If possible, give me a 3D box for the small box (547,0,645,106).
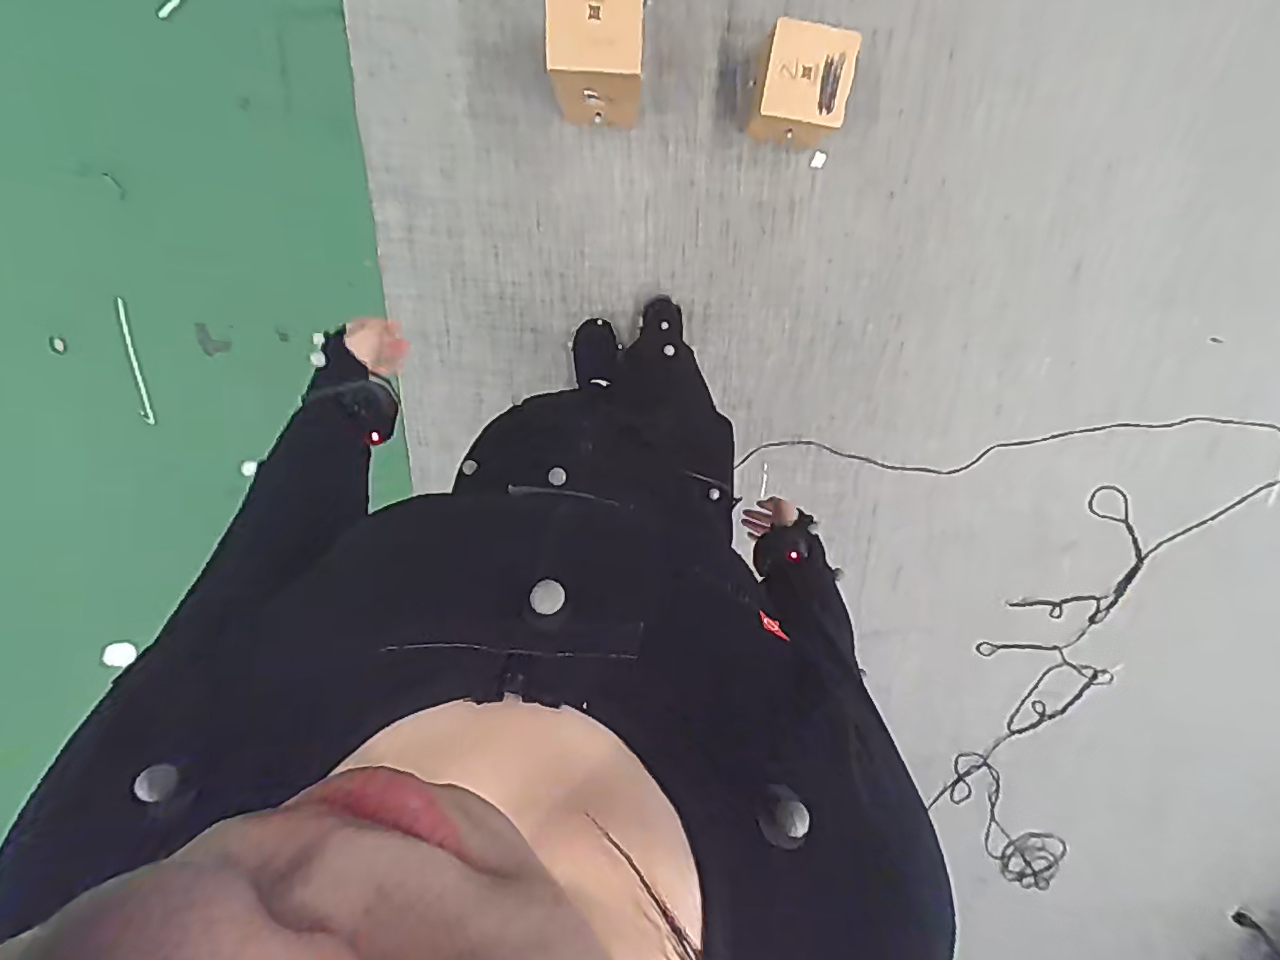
[{"bbox_3d":[-0.076,-0.812,0.984,0.168,0.176,0.179,2,111,-1],"label":"small box"}]

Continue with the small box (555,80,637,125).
[{"bbox_3d":[-0.084,-0.870,1.136,0.168,0.176,0.179,4,111,-3],"label":"small box"}]
